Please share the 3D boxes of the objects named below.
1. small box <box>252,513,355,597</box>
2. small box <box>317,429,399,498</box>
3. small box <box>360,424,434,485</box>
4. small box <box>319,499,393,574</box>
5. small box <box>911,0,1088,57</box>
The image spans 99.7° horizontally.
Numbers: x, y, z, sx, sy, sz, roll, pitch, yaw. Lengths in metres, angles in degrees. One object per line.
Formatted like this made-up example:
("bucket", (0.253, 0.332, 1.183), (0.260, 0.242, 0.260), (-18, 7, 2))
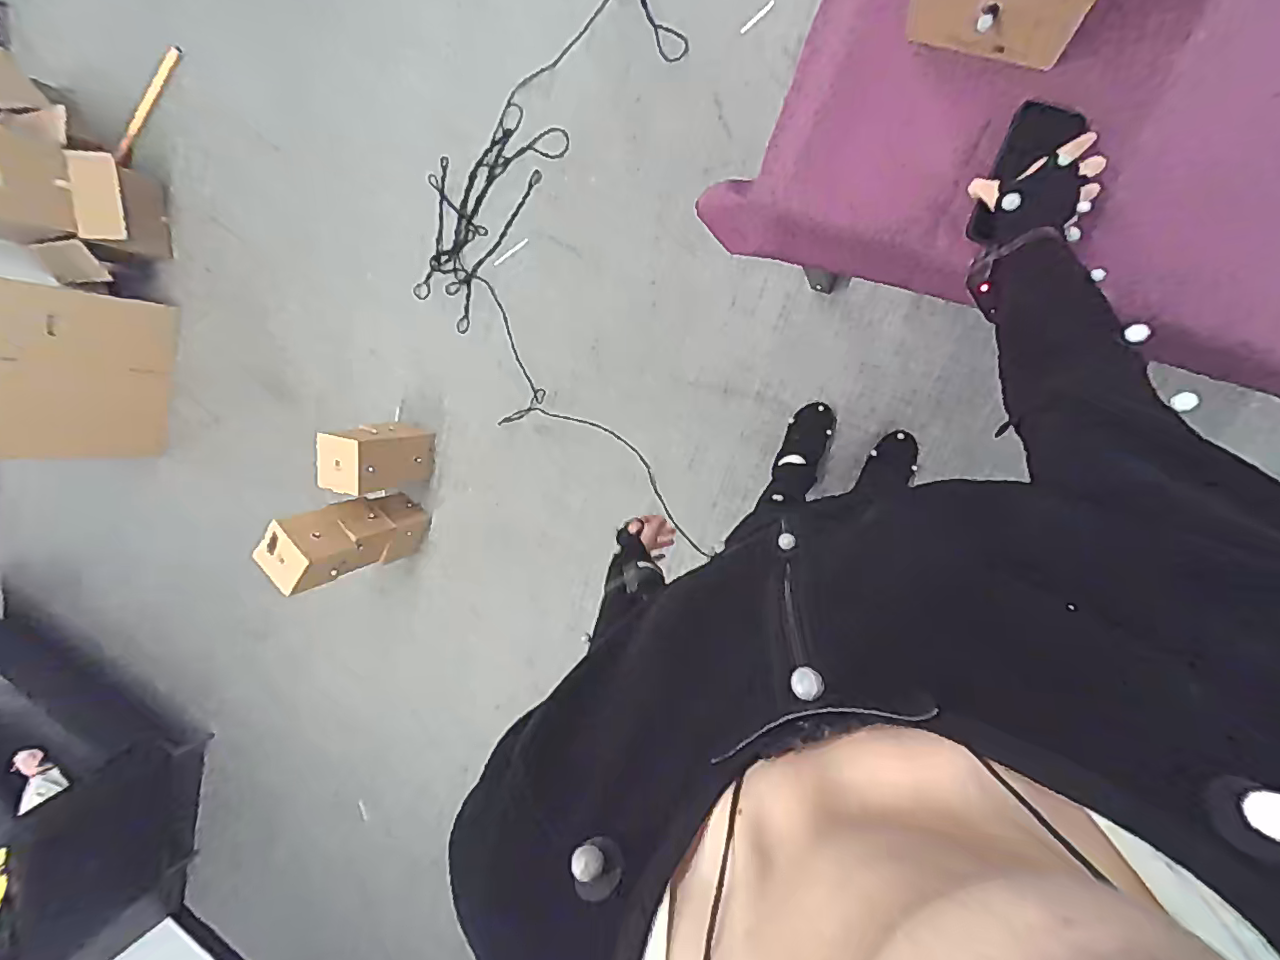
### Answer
("small box", (-1.005, 0.215, 1.622), (0.179, 0.176, 0.168), (45, 111, 9))
("small box", (-0.886, -0.059, 1.706), (0.168, 0.176, 0.179), (12, 103, 19))
("small box", (-0.835, -0.094, 1.857), (0.179, 0.176, 0.168), (16, 104, 19))
("small box", (-0.951, 0.186, 1.775), (0.168, 0.176, 0.179), (41, 110, 12))
("small box", (0.378, -0.551, 0.512), (0.168, 0.176, 0.179), (26, 108, 16))
